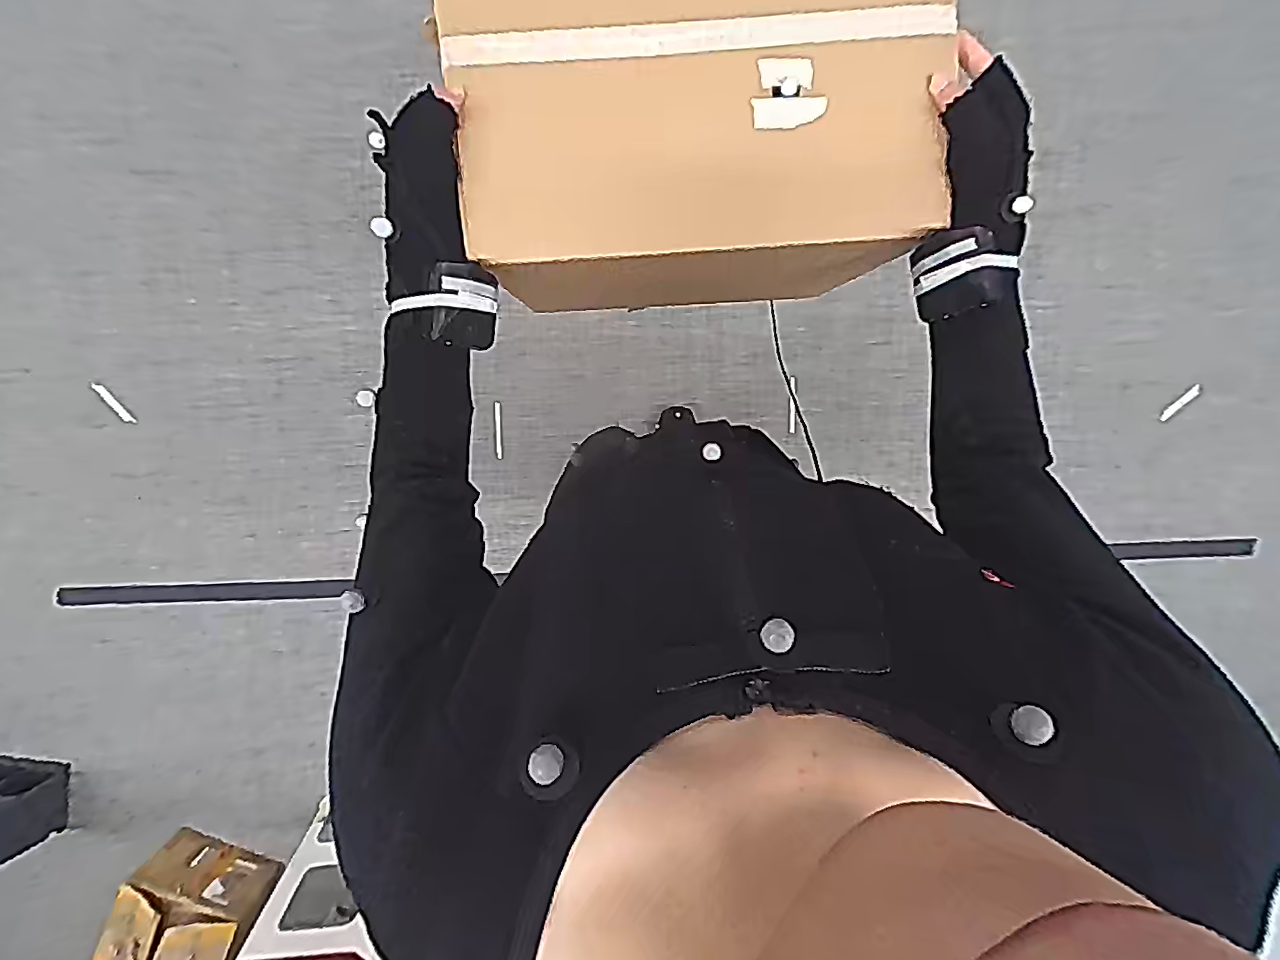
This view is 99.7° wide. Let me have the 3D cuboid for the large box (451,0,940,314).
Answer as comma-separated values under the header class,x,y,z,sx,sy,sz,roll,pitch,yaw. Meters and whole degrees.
class,x,y,z,sx,sy,sz,roll,pitch,yaw
large box,0.043,-0.374,0.591,0.408,0.320,0.320,-4,100,-1
